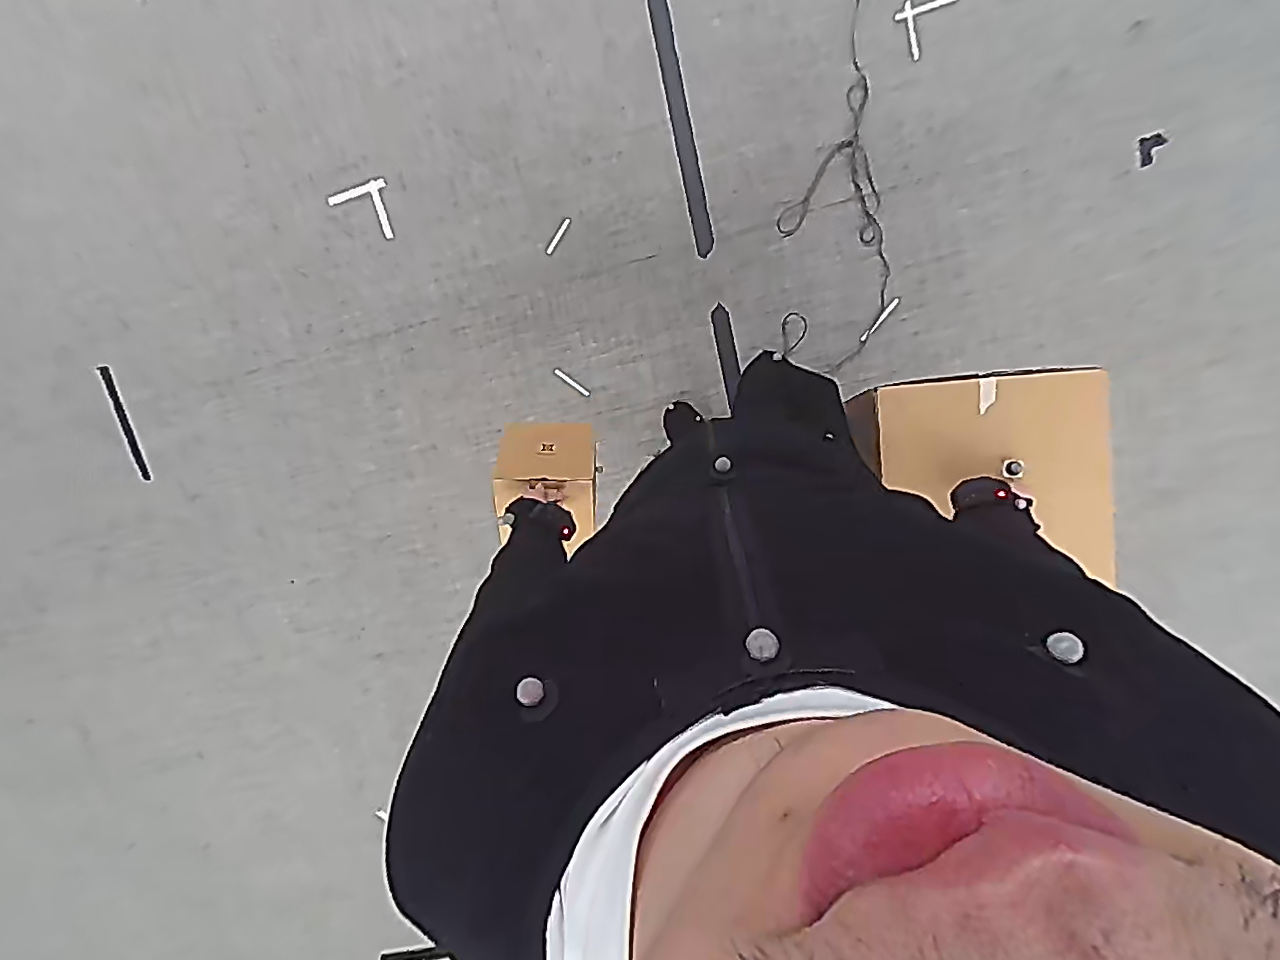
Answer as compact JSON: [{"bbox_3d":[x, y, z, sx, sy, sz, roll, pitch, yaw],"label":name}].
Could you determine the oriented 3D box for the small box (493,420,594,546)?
[{"bbox_3d":[-0.169,0.007,0.999,0.168,0.179,0.176,1,130,-6],"label":"small box"}]
